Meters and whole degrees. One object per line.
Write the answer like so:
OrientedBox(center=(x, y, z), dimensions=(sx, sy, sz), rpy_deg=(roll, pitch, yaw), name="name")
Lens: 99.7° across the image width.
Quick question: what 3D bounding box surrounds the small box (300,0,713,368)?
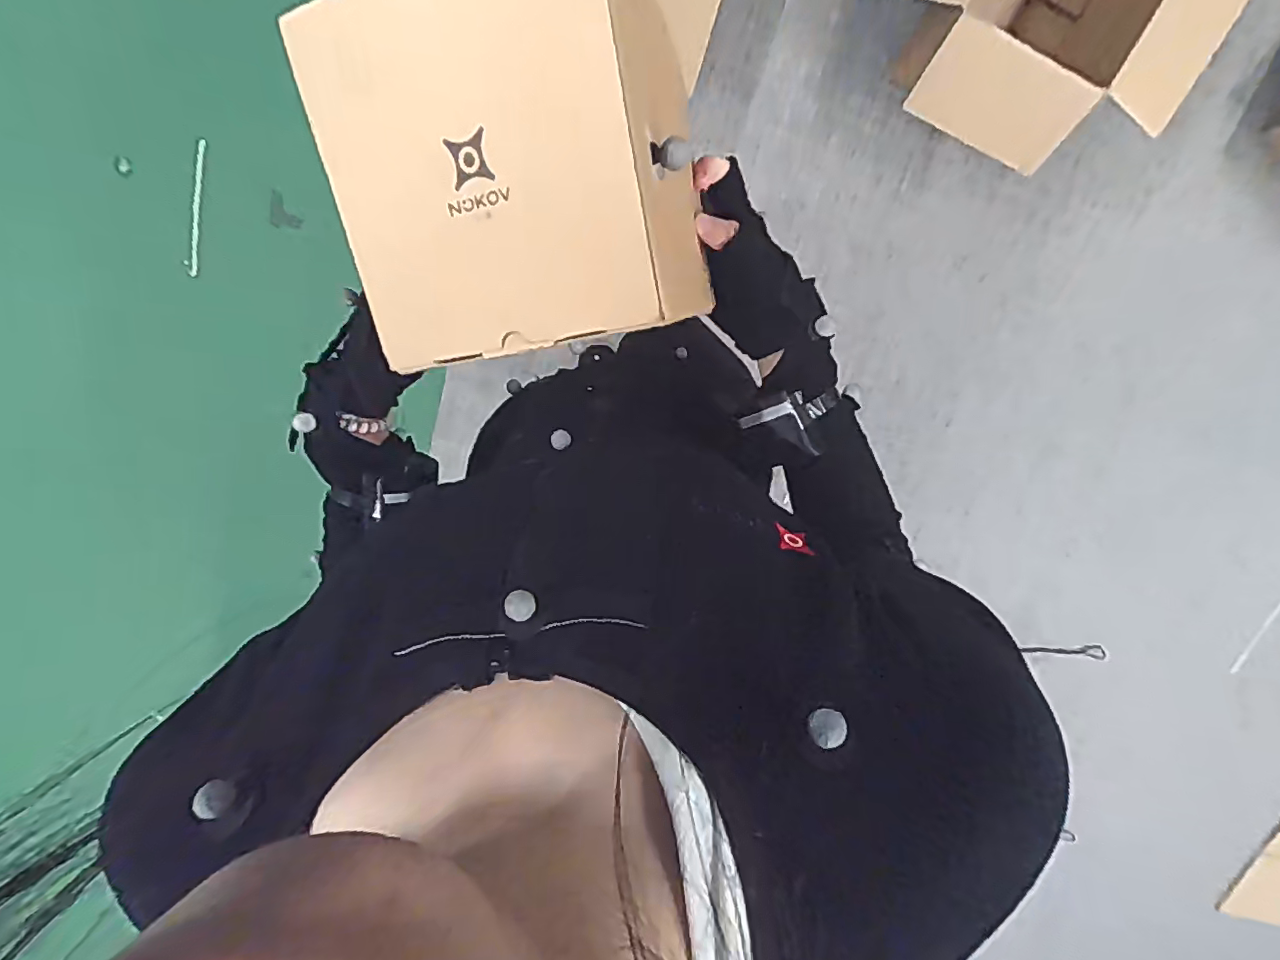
OrientedBox(center=(-0.056, -0.181, 0.341), dimensions=(0.168, 0.176, 0.179), rpy_deg=(-6, 109, 19), name="small box")
